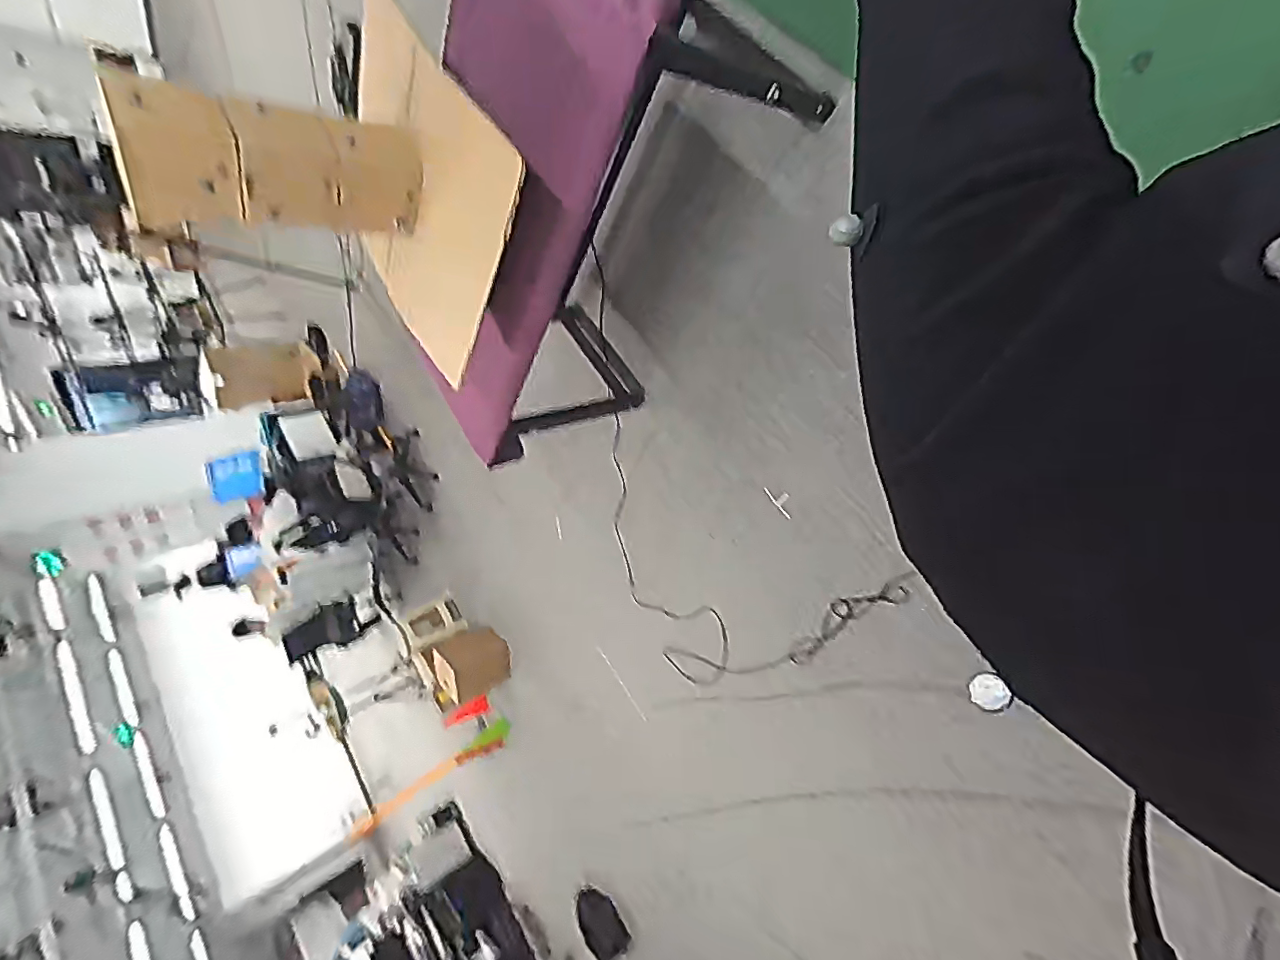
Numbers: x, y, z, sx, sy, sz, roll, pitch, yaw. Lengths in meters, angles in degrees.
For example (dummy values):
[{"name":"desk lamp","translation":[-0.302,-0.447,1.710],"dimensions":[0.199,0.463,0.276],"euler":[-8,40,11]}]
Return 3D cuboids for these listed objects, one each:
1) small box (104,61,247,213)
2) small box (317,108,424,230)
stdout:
[{"name":"small box","translation":[-0.849,-0.621,1.001],"dimensions":[0.179,0.176,0.168],"euler":[56,137,21]},{"name":"small box","translation":[-0.603,-0.684,1.208],"dimensions":[0.179,0.176,0.168],"euler":[58,138,19]}]
